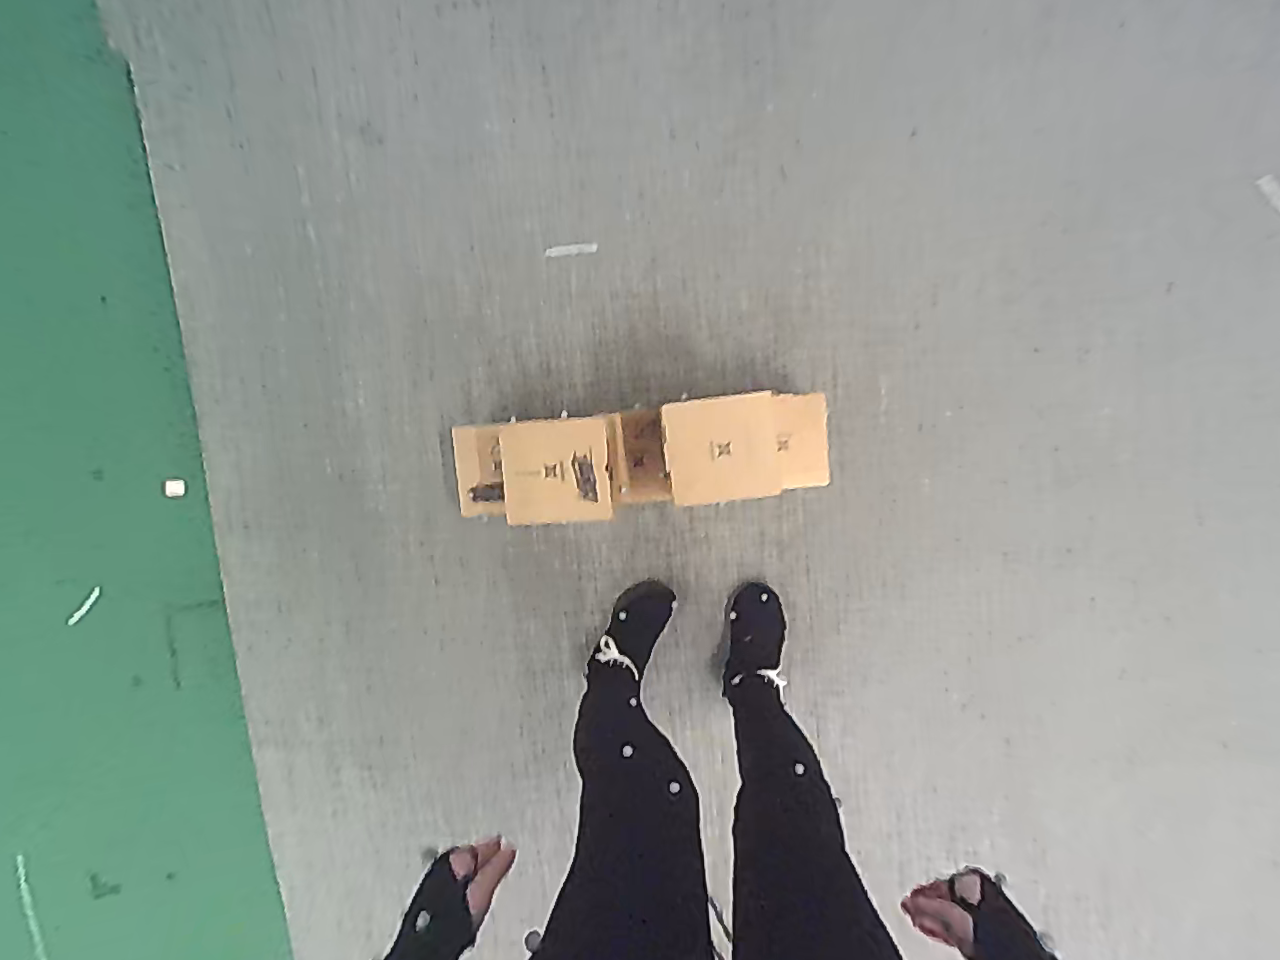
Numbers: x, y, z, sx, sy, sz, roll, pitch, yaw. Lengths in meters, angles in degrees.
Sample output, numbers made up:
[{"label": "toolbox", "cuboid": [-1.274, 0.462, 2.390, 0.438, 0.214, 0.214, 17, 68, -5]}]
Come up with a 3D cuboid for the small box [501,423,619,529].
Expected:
[{"label": "small box", "cuboid": [-0.128, -0.013, 0.943, 0.179, 0.176, 0.168, -3, 95, 3]}]

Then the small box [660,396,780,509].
[{"label": "small box", "cuboid": [0.128, -0.049, 0.932, 0.179, 0.176, 0.168, -7, 96, 1]}]

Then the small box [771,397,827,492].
[{"label": "small box", "cuboid": [0.269, -0.072, 1.091, 0.168, 0.176, 0.179, -5, 95, 3]}]
